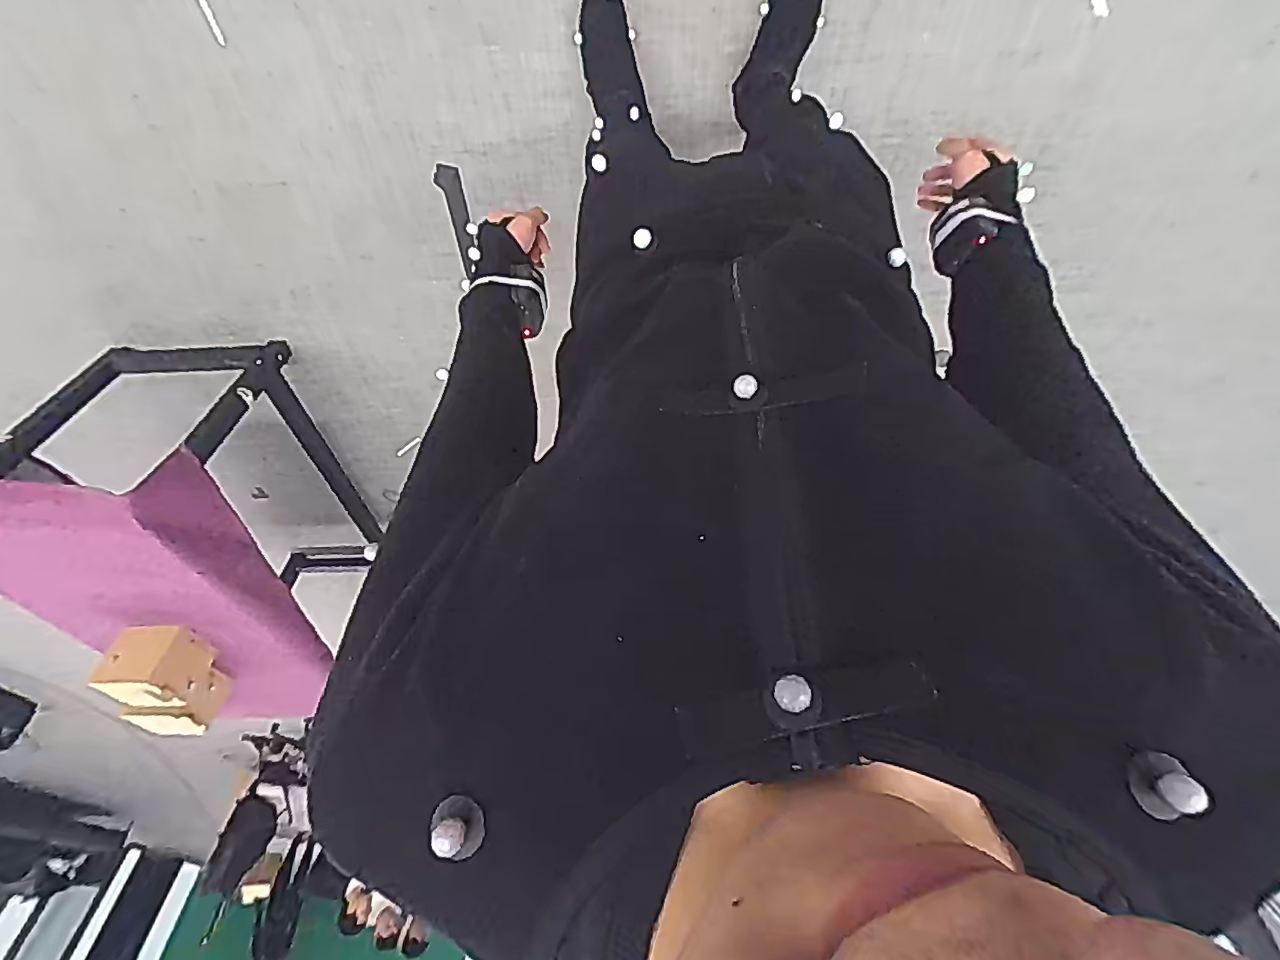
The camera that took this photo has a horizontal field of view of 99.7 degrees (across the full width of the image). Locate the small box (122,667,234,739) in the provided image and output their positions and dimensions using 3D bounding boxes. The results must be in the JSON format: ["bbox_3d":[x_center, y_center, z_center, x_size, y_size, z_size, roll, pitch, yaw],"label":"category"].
[{"bbox_3d":[-1.451,0.705,1.713,0.179,0.176,0.168,-3,137,3],"label":"small box"}]
